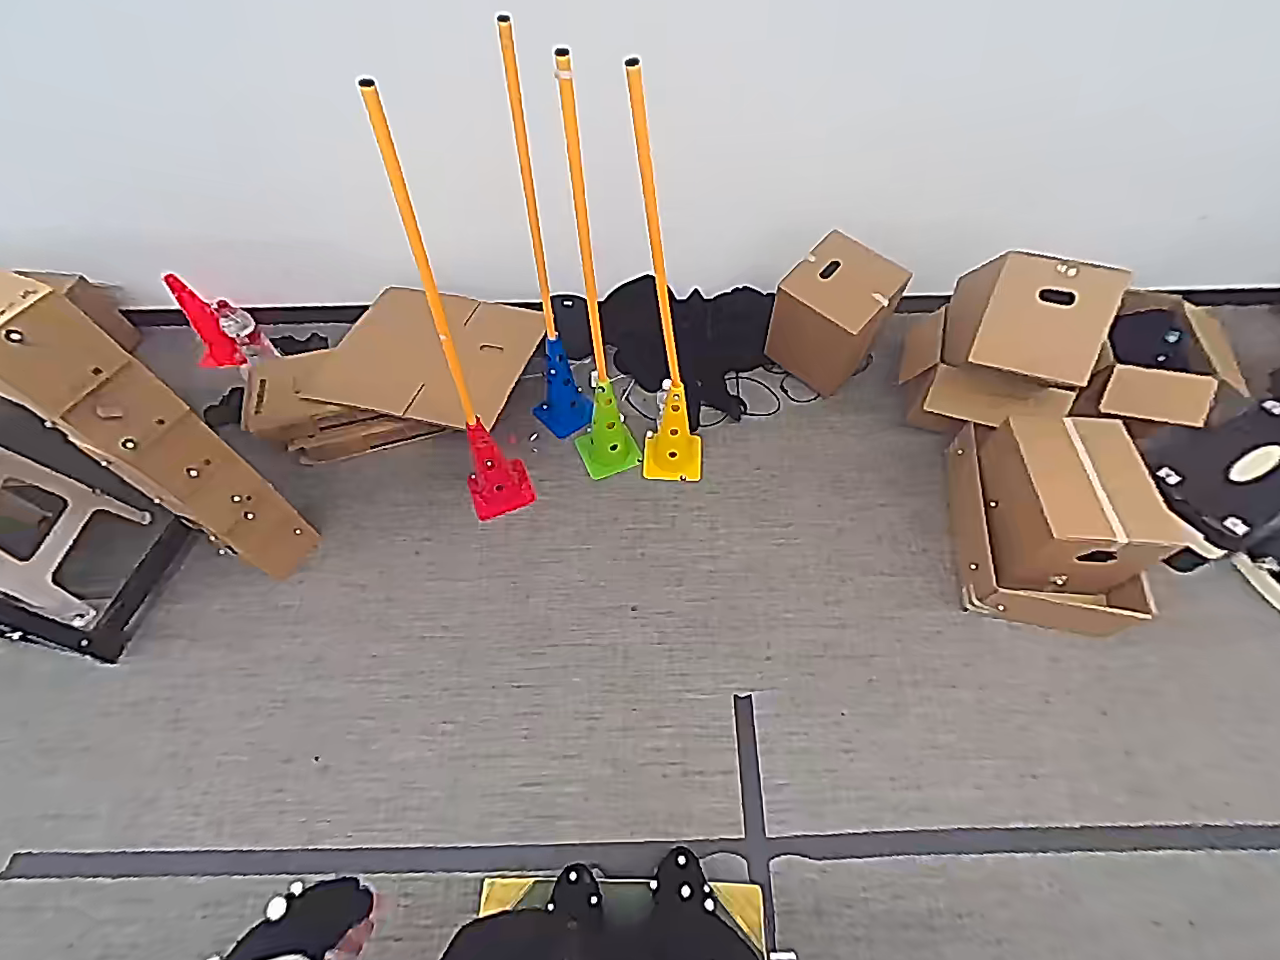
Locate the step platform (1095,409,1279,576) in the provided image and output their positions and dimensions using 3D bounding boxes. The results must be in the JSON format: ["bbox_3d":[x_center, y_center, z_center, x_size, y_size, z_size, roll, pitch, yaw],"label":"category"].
[{"bbox_3d":[1.835,0.027,1.722,0.684,0.204,0.286,-25,59,-15],"label":"step platform"}]
